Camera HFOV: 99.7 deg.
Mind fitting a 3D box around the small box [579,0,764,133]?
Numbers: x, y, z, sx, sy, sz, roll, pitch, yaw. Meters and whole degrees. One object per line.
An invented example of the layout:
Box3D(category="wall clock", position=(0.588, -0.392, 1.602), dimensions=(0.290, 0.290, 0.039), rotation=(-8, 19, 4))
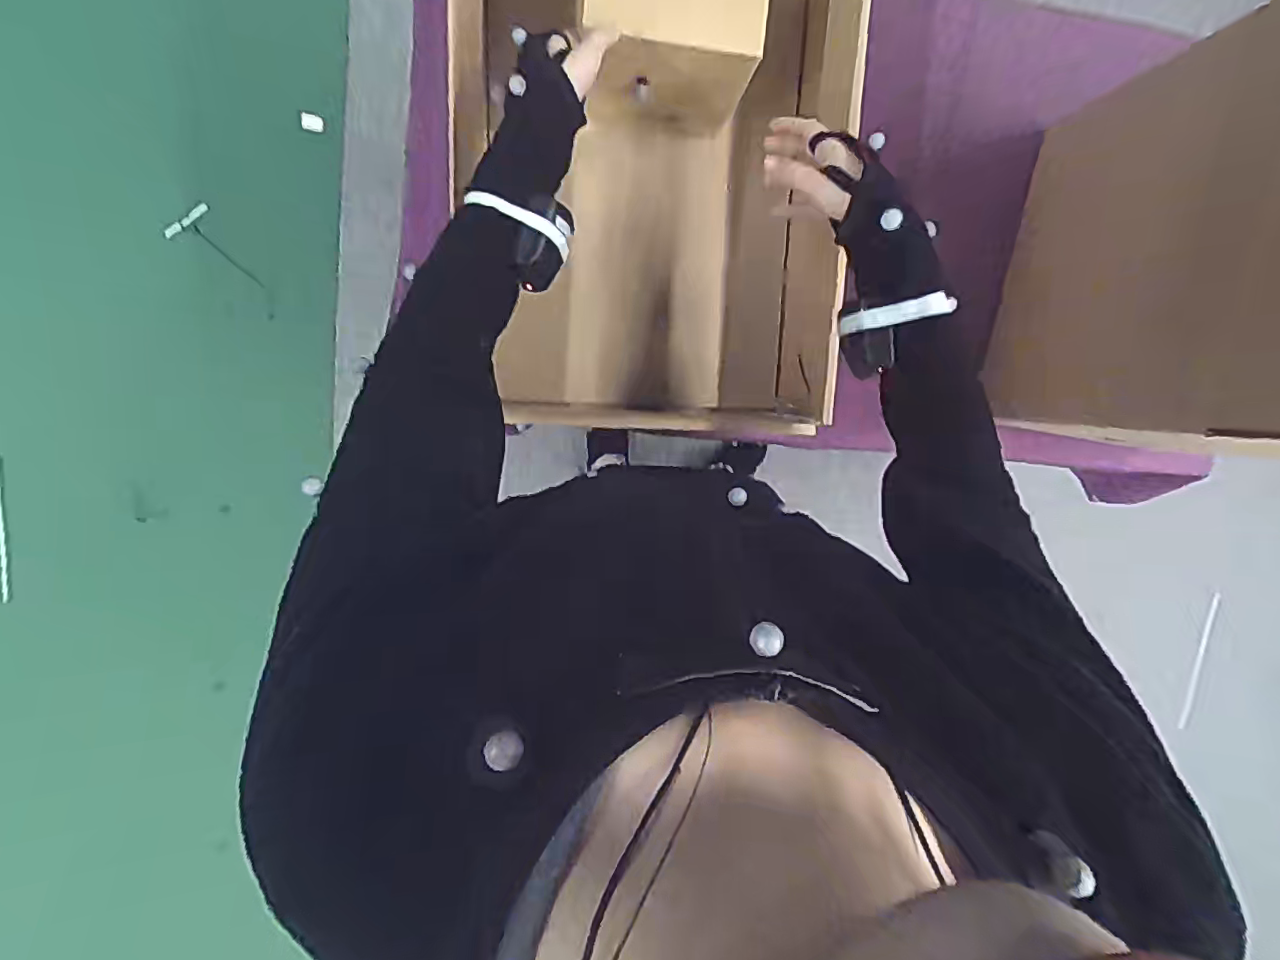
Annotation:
Box3D(category="small box", position=(0.029, -0.488, 0.550), dimensions=(0.168, 0.176, 0.179), rotation=(4, 99, -6))
